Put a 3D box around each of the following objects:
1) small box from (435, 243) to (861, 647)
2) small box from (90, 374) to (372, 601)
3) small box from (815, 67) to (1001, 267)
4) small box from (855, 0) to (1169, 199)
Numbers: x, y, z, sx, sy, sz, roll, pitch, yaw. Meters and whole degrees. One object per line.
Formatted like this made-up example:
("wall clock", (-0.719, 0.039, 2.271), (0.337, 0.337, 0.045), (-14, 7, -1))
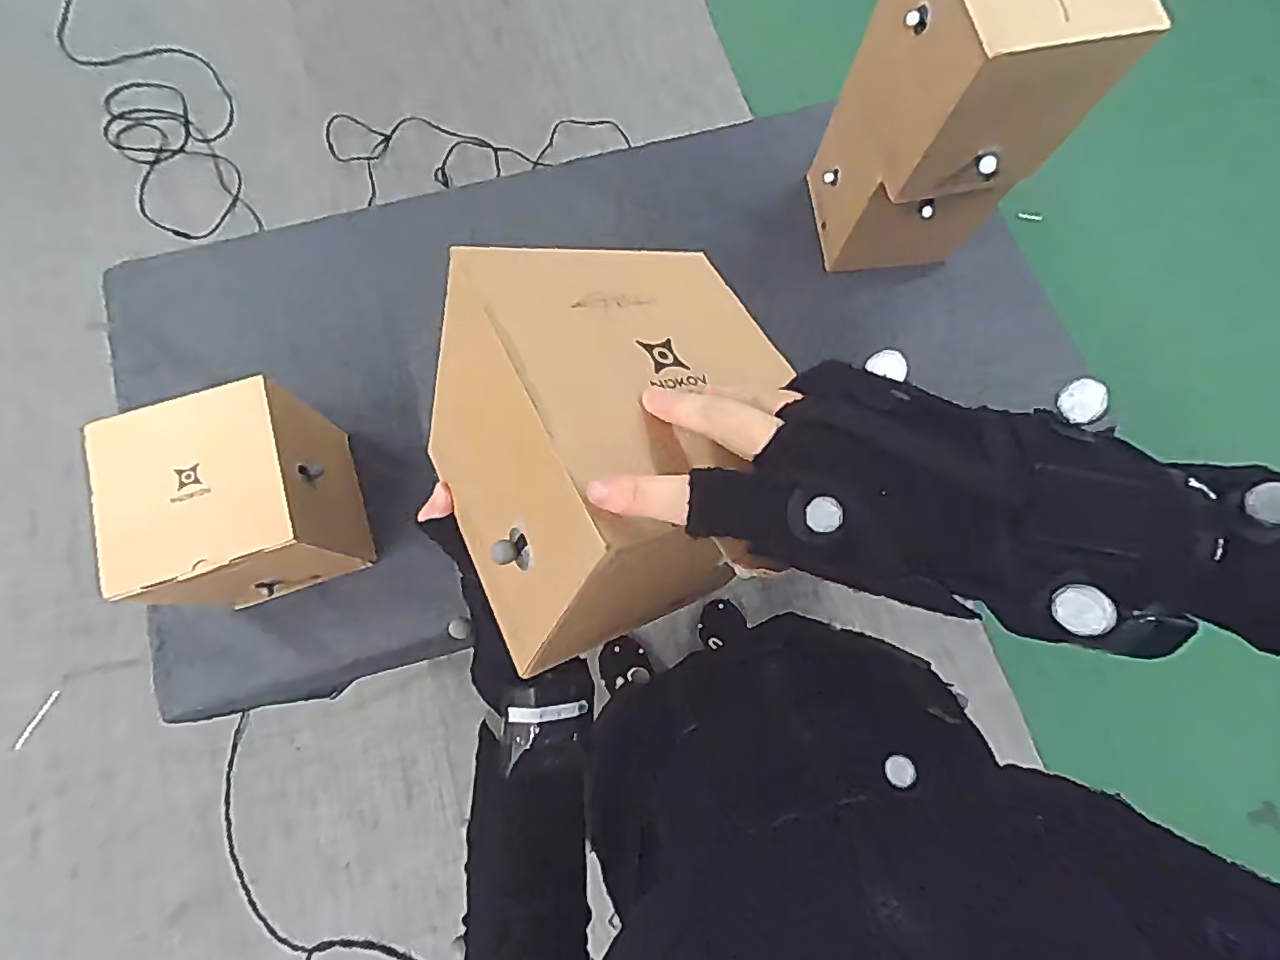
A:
("small box", (-0.014, -0.016, 0.333), (0.168, 0.176, 0.179), (-14, 63, -34))
("small box", (-0.414, 0.019, 0.574), (0.168, 0.176, 0.179), (-18, 77, -7))
("small box", (0.341, -0.398, 0.702), (0.179, 0.176, 0.168), (-5, 76, -3))
("small box", (0.340, -0.420, 0.538), (0.168, 0.176, 0.179), (-11, 77, -3))
